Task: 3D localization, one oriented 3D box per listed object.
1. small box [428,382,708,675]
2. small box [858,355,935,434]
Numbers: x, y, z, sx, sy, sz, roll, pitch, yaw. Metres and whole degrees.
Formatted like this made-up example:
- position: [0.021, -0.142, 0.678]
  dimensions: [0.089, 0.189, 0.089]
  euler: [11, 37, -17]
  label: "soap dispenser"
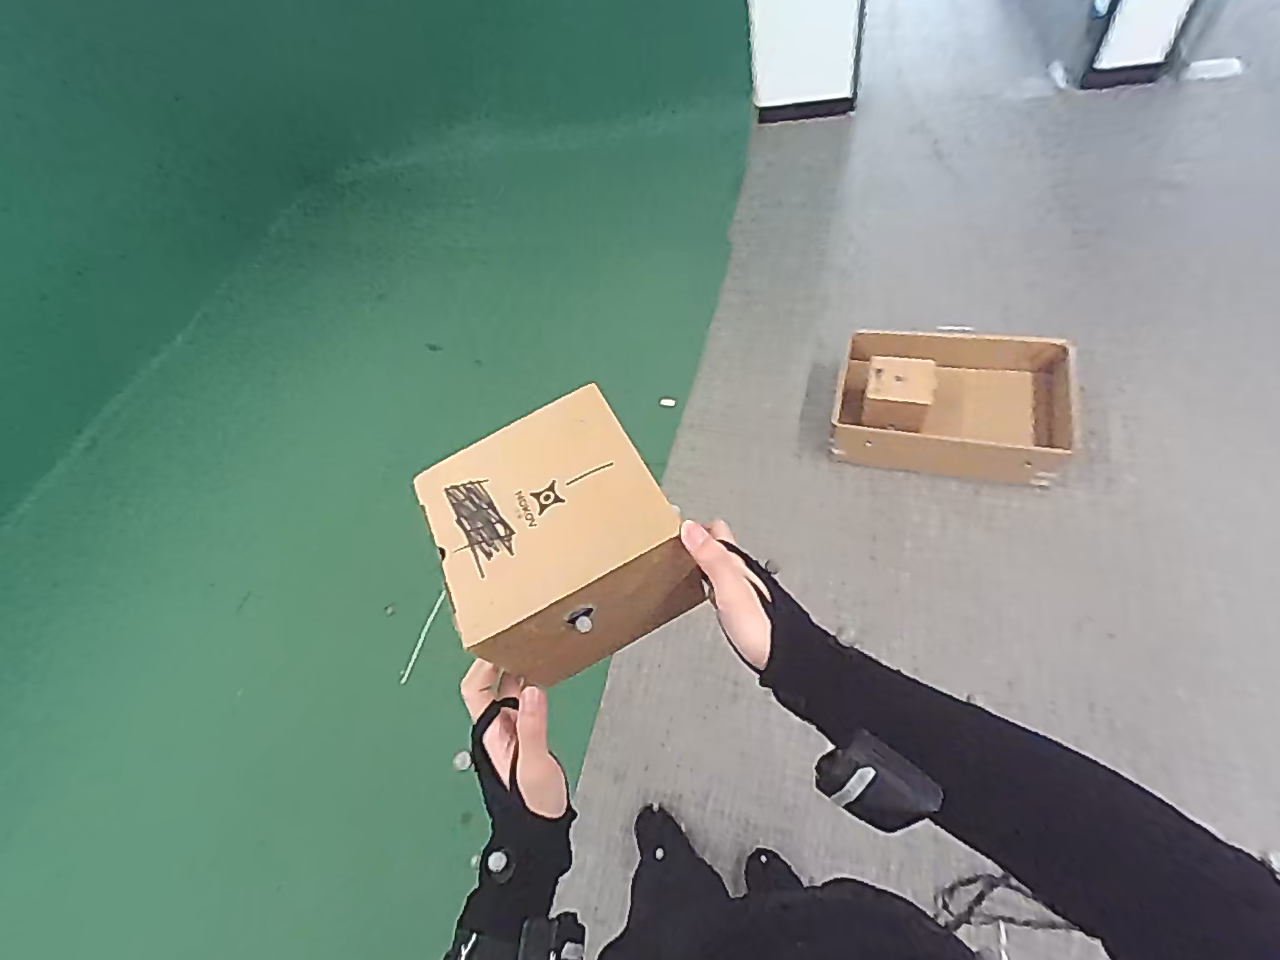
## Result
- position: [-0.055, 0.053, 0.485]
  dimensions: [0.179, 0.176, 0.168]
  euler: [-27, 58, -4]
  label: "small box"
- position: [0.785, -0.260, 1.664]
  dimensions: [0.179, 0.176, 0.168]
  euler: [10, 62, 19]
  label: "small box"
